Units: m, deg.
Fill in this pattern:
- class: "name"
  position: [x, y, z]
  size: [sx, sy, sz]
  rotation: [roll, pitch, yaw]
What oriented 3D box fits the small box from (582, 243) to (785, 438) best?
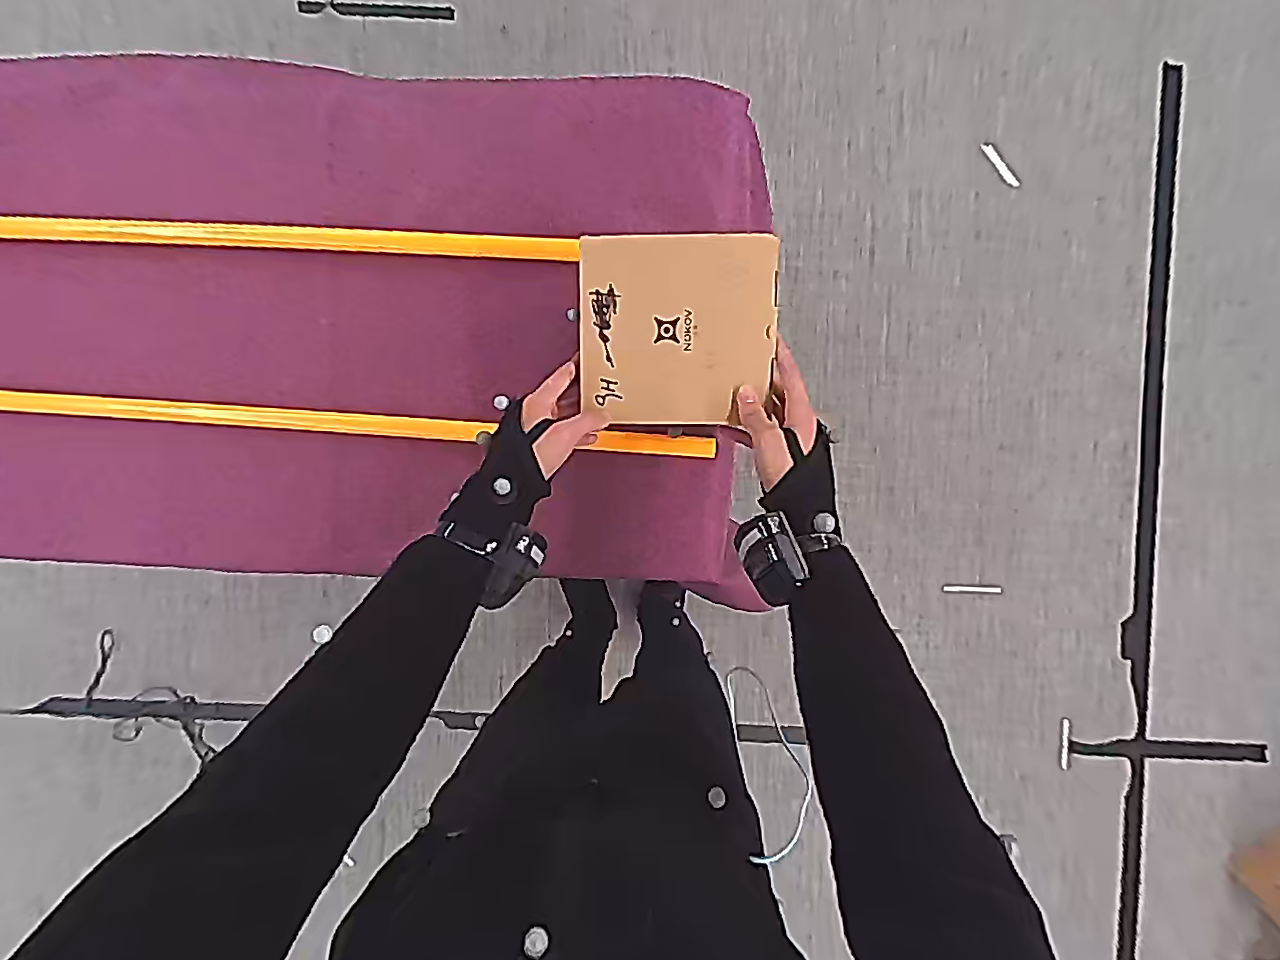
- class: "small box"
  position: [0.039, -0.132, 0.555]
  size: [0.179, 0.176, 0.168]
  rotation: [2, 97, 3]
